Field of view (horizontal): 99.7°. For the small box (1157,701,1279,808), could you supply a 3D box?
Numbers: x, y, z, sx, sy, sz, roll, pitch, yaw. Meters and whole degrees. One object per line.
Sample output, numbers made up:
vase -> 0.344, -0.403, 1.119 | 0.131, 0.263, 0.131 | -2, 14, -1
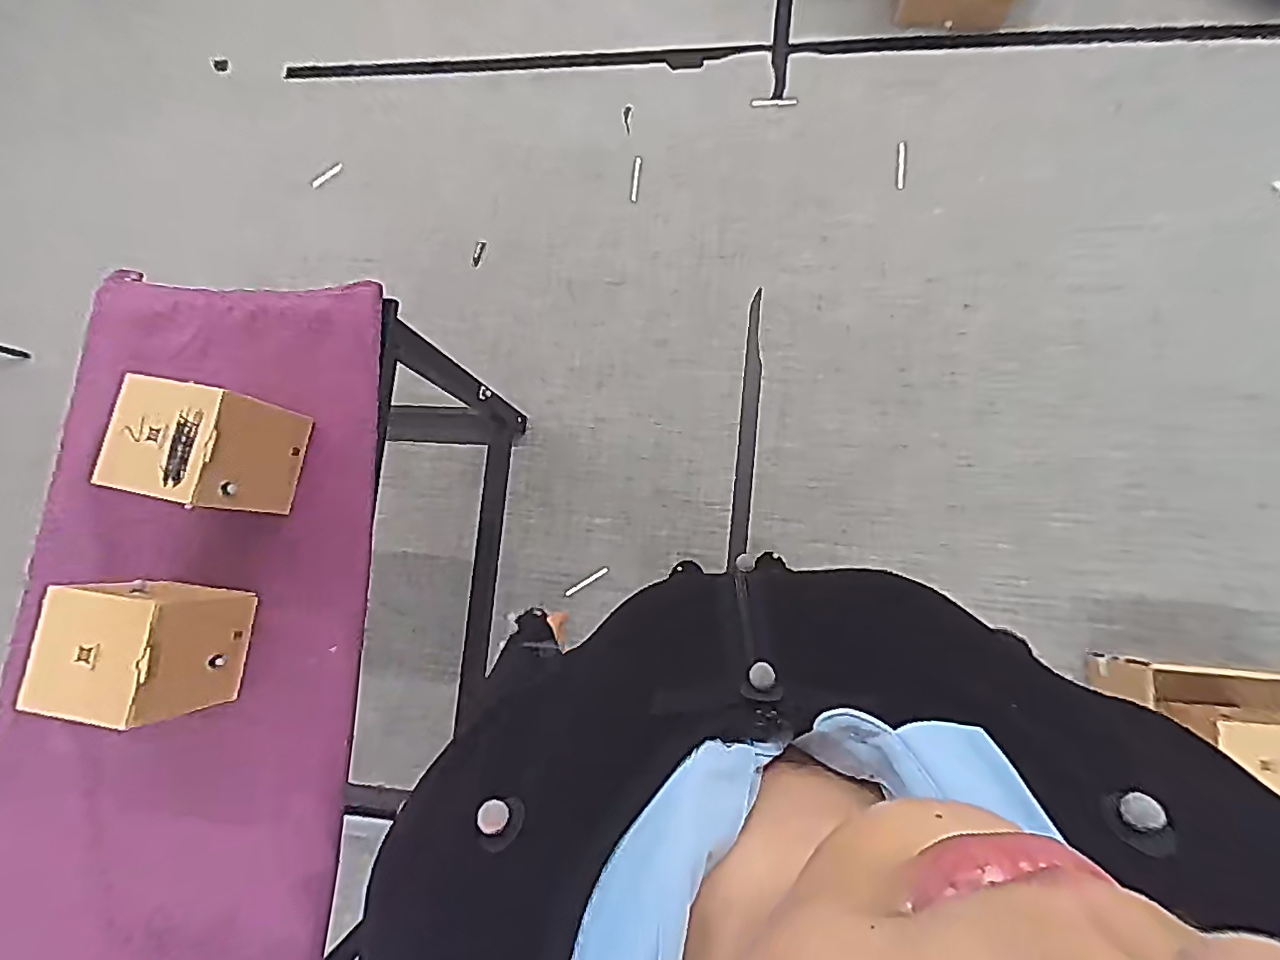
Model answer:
small box -> 1.286, 0.592, 1.182 | 0.179, 0.176, 0.168 | 2, 82, 7

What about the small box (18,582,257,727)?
small box -> -0.720, 0.243, 0.794 | 0.179, 0.176, 0.168 | 6, 82, 8
